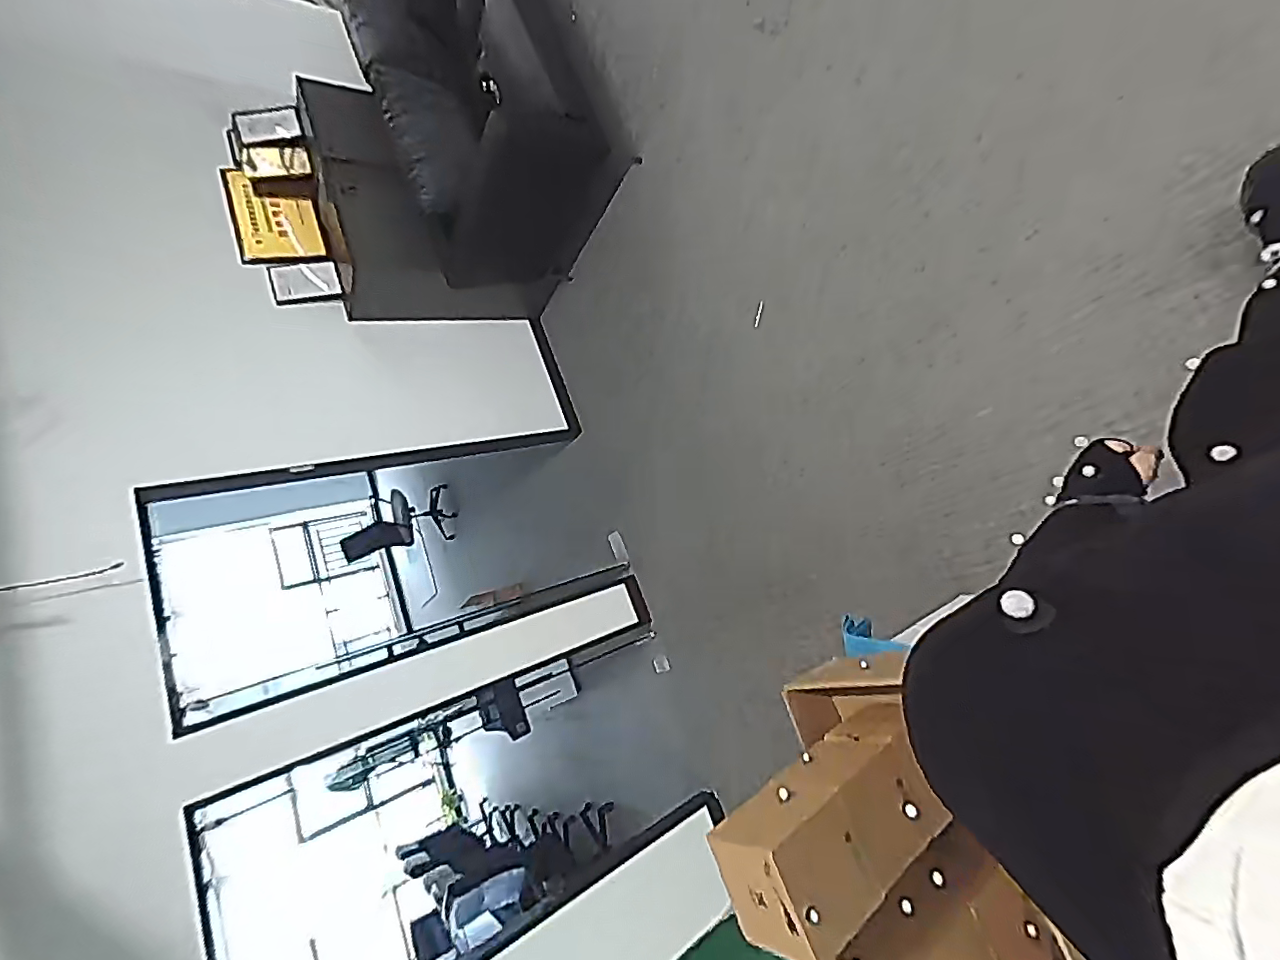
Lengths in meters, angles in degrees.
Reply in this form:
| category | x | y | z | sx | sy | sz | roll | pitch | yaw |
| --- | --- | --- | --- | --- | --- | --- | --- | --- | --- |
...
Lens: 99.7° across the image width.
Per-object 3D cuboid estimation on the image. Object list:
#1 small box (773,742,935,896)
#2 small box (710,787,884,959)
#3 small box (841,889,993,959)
| category | x | y | z | sx | sy | sz | roll | pitch | yaw |
| --- | --- | --- | --- | --- | --- | --- | --- | --- | --- |
| small box | 0.382 | 0.592 | 0.972 | 0.179 | 0.176 | 0.168 | -39 | 69 | 53 |
| small box | 0.252 | 0.627 | 0.879 | 0.179 | 0.176 | 0.168 | -41 | 68 | 54 |
| small box | 0.481 | 0.839 | 0.902 | 0.168 | 0.176 | 0.179 | -39 | 66 | 53 |
